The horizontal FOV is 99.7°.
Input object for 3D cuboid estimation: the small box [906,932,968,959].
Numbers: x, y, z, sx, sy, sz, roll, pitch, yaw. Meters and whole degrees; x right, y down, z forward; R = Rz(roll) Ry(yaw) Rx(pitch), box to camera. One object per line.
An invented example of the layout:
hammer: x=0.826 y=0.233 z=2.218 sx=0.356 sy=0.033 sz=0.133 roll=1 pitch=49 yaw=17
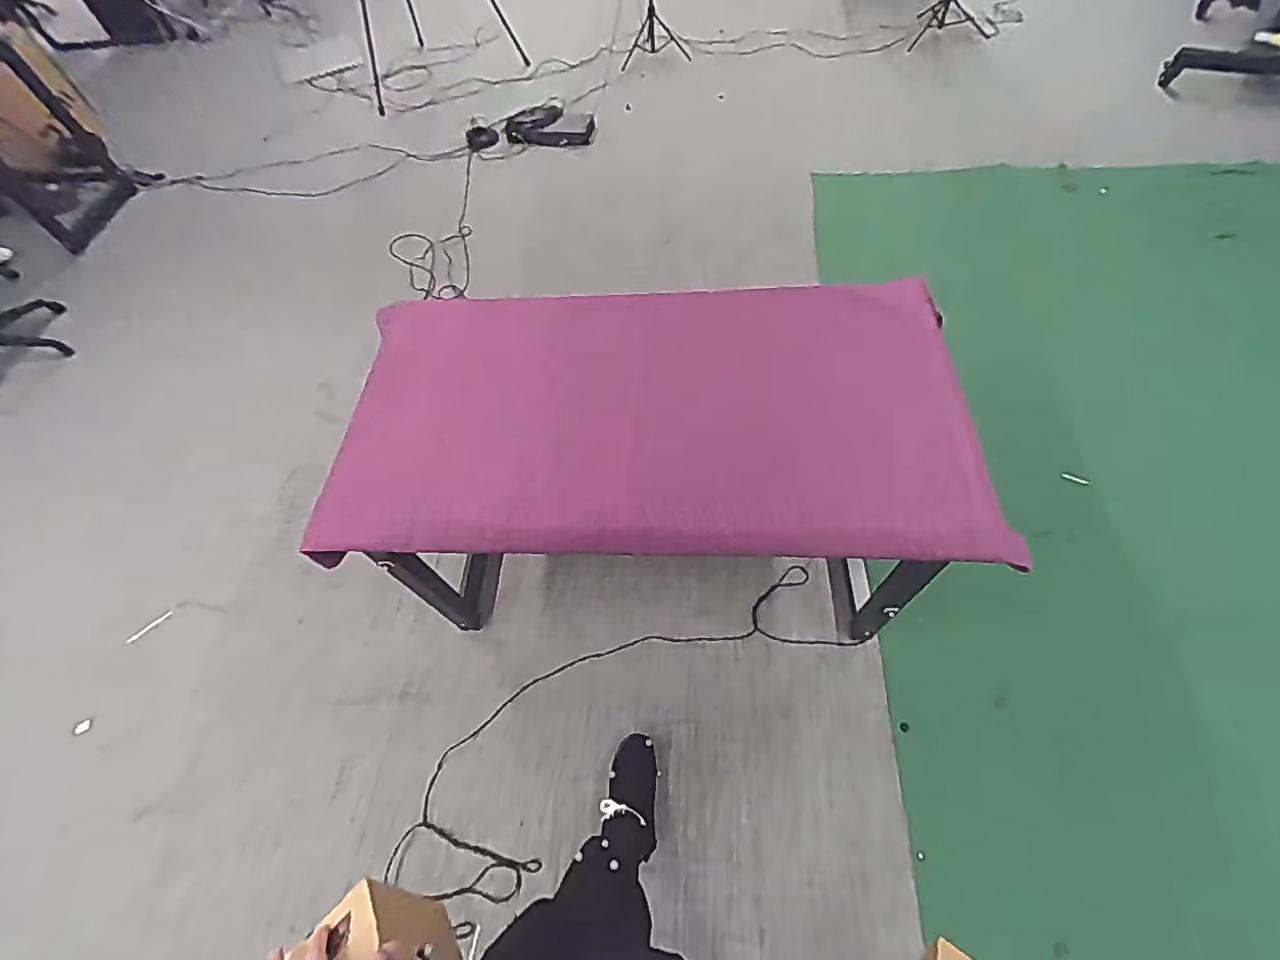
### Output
small box: x=0.346 y=0.666 z=0.580 sx=0.168 sy=0.176 sz=0.179 roll=28 pitch=26 yaw=25

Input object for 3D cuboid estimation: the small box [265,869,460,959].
small box: x=-0.330 y=0.626 z=0.648 sx=0.168 sy=0.176 sz=0.179 roll=-41 pitch=41 yaw=-16
